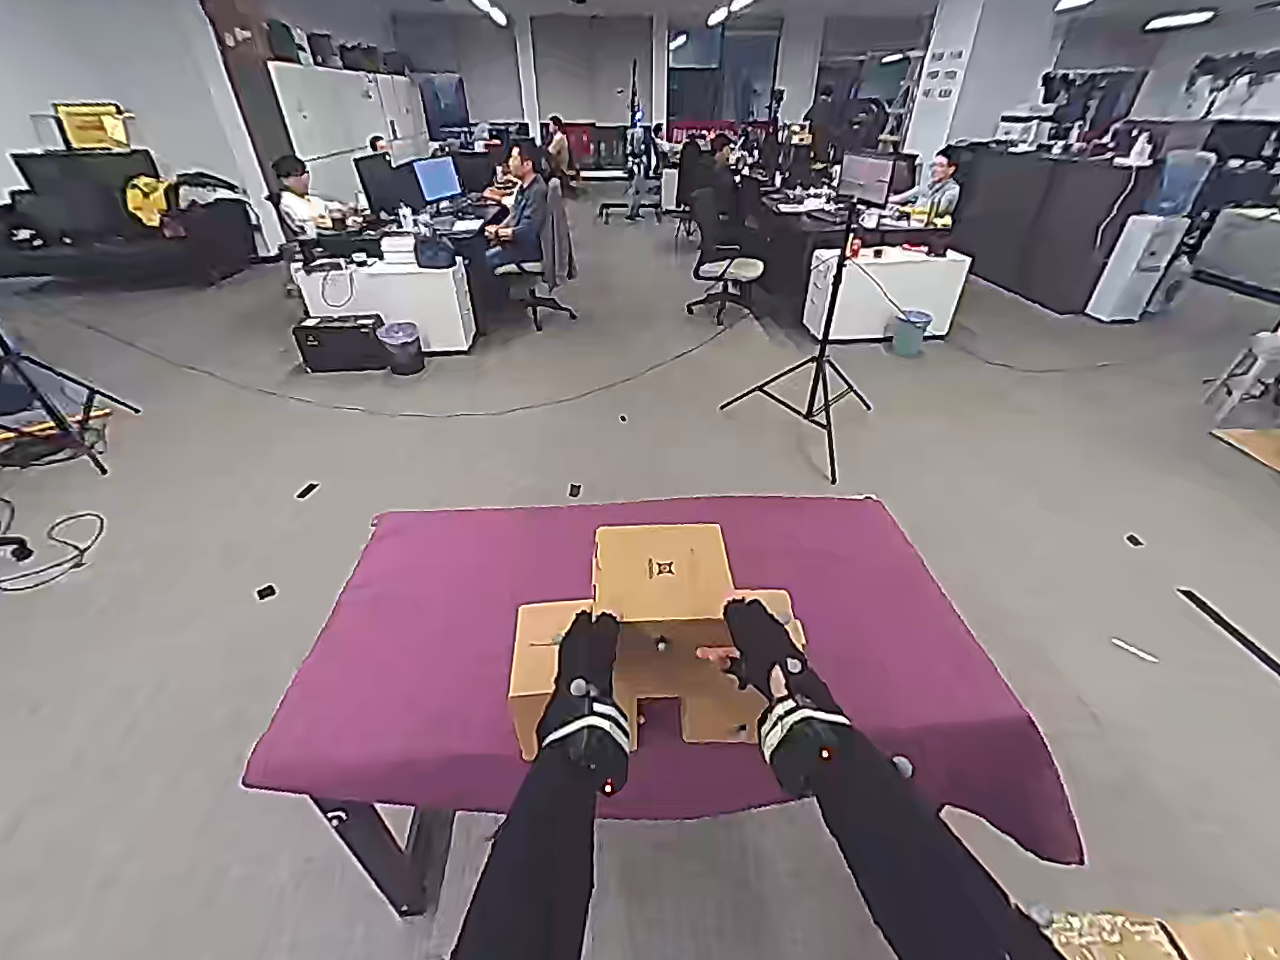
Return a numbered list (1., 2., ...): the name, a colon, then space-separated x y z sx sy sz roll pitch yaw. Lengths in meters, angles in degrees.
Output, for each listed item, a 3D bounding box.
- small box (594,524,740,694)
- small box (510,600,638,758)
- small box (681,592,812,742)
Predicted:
1. small box: 0.030 0.178 0.747 0.179 0.176 0.168 -1 38 -3
2. small box: -0.095 0.308 0.846 0.179 0.176 0.168 -4 34 -3
3. small box: 0.155 0.297 0.863 0.179 0.176 0.168 0 34 1
